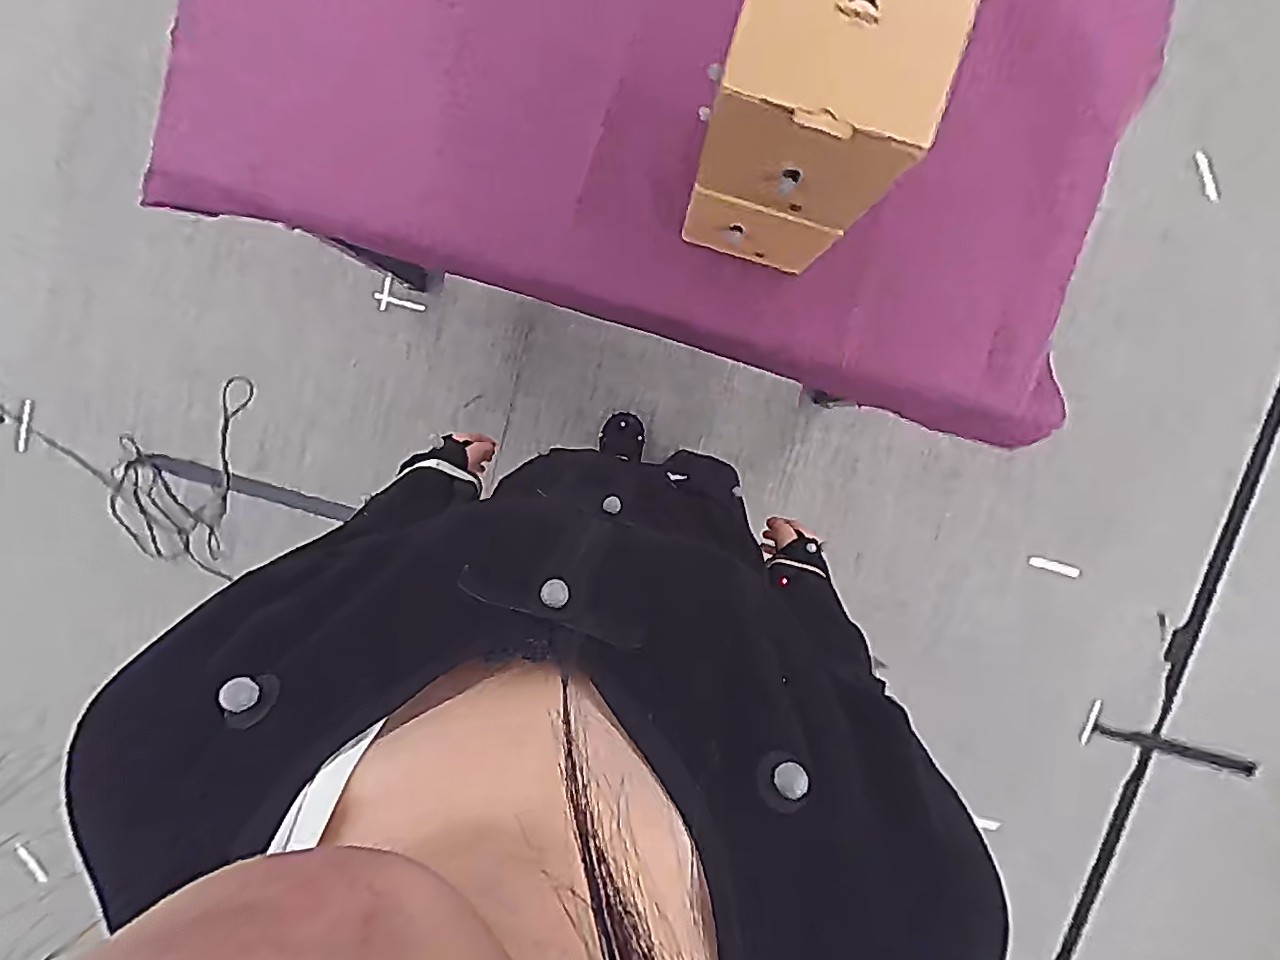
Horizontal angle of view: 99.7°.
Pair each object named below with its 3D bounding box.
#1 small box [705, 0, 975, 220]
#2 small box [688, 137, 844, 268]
[{"bbox_3d":[0.161,-0.360,0.476,0.168,0.176,0.179,16,96,-2],"label":"small box"},{"bbox_3d":[0.159,-0.374,0.639,0.168,0.176,0.179,16,96,-2],"label":"small box"}]
